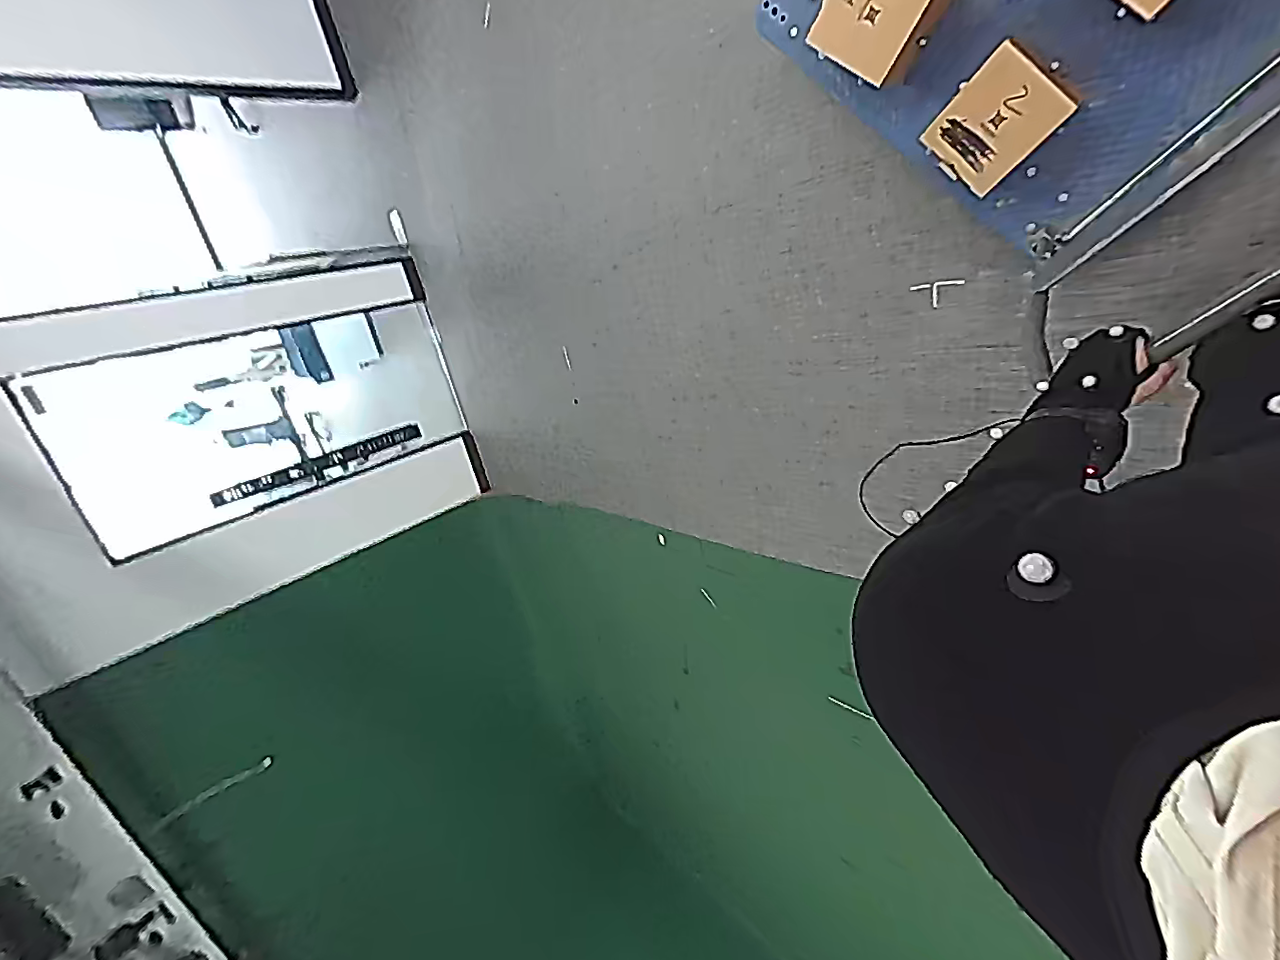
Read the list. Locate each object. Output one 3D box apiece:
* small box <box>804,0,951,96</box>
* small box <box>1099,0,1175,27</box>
[{"bbox_3d":[0.450,-0.862,1.017,0.179,0.176,0.168,40,139,9],"label":"small box"},{"bbox_3d":[0.760,-0.805,0.793,0.179,0.176,0.168,42,140,4],"label":"small box"}]
